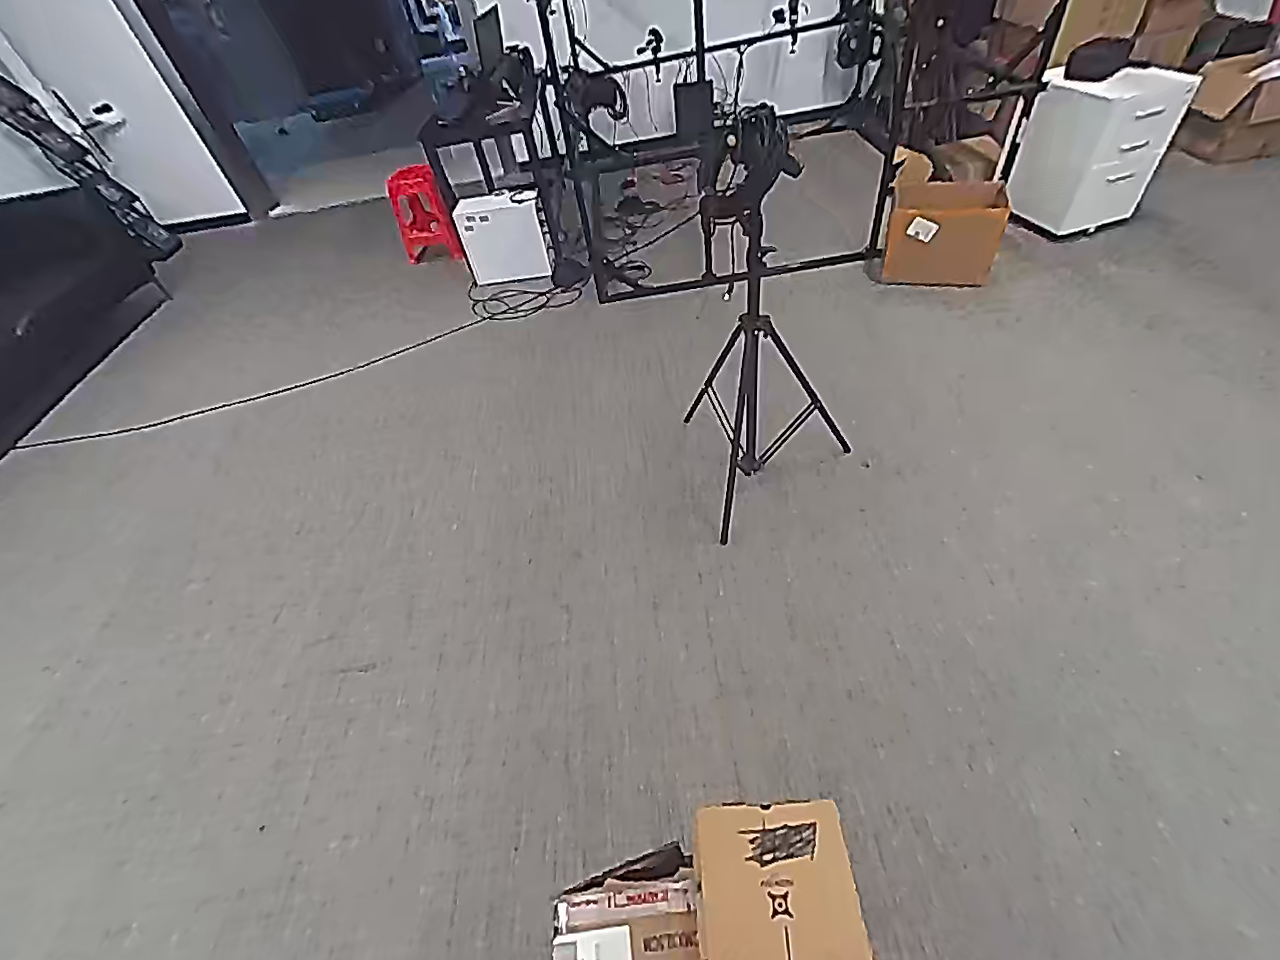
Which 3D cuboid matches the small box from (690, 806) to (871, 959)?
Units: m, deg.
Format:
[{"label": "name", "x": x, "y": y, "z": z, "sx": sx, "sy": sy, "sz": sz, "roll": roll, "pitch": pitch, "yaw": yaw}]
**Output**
[{"label": "small box", "x": 0.148, "y": 0.499, "z": 0.626, "sx": 0.168, "sy": 0.176, "sz": 0.179, "roll": -2, "pitch": 47, "yaw": 0}]
